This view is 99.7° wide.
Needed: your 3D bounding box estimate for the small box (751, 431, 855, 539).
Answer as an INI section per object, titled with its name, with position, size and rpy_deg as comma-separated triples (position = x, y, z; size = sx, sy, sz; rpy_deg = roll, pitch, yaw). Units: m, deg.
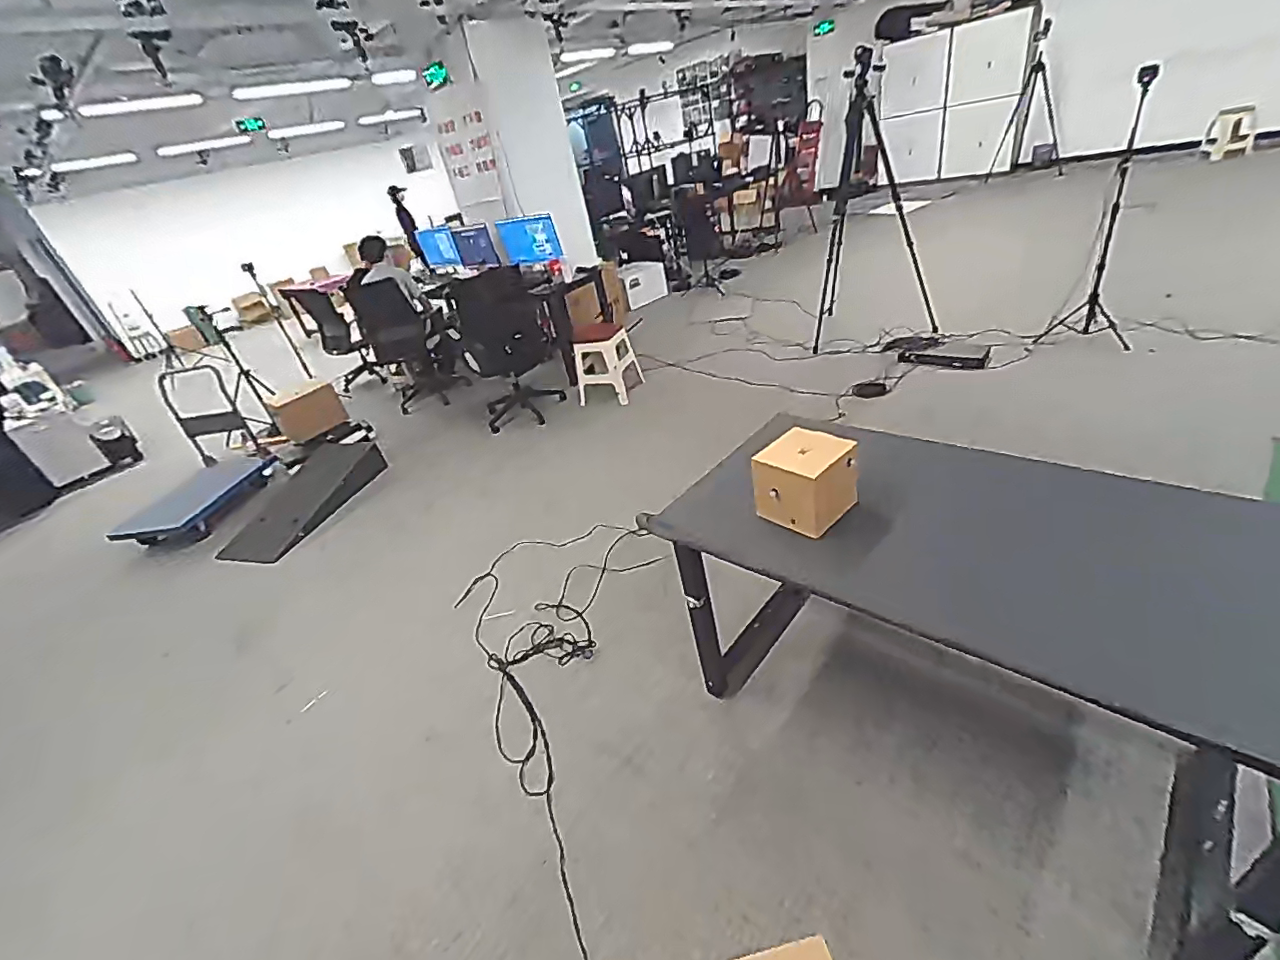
[small box]
position = 0.384, 0.010, 1.257
size = 0.179, 0.176, 0.168
rpy_deg = -33, 37, -30
